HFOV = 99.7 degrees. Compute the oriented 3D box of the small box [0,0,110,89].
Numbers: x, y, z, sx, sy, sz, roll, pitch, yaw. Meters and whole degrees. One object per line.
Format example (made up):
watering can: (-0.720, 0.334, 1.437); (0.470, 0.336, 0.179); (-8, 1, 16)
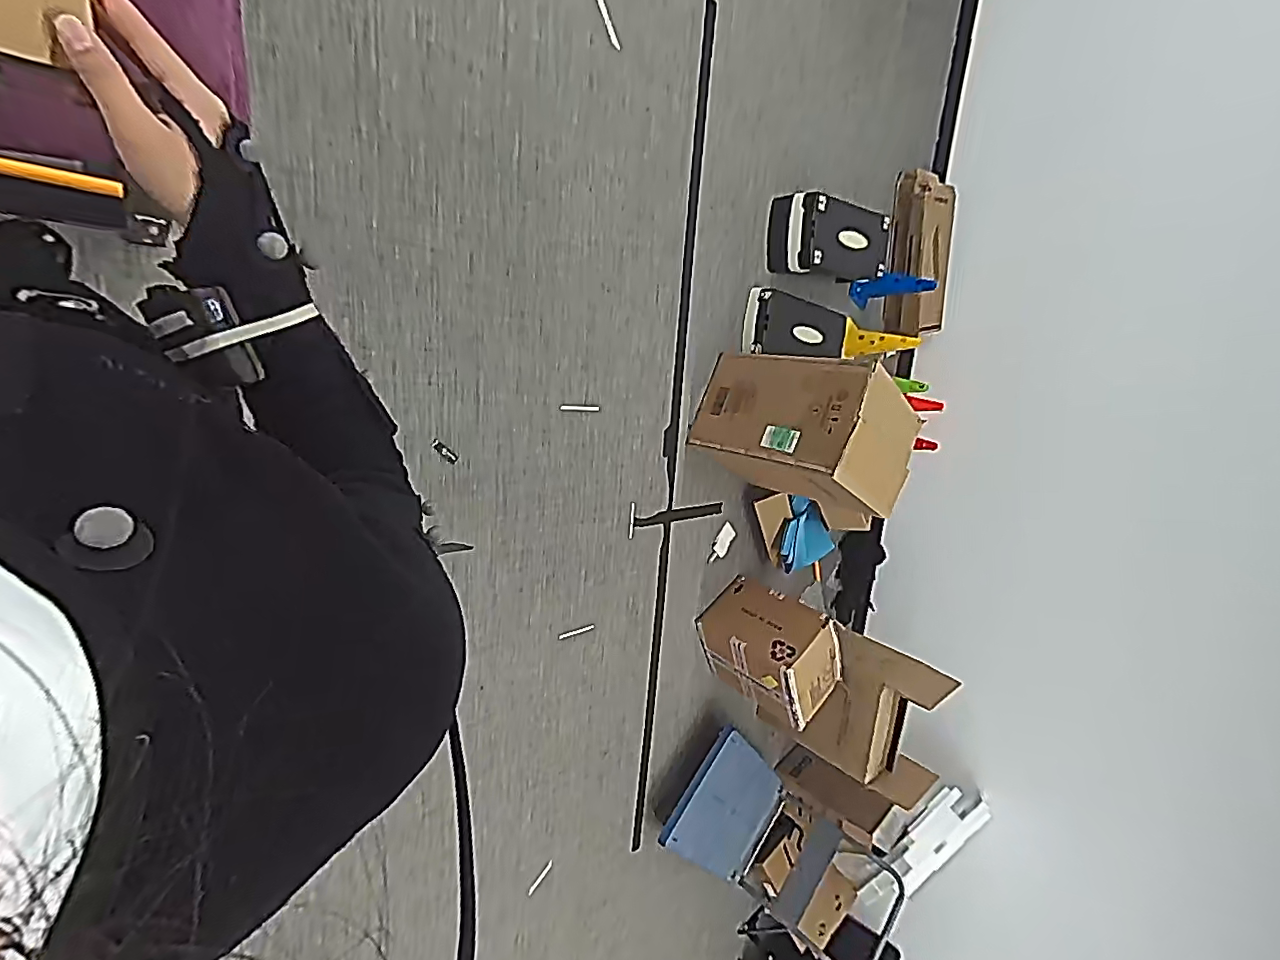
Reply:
small box: (-0.395, -0.316, 0.262); (0.179, 0.176, 0.168); (-10, 121, -43)
